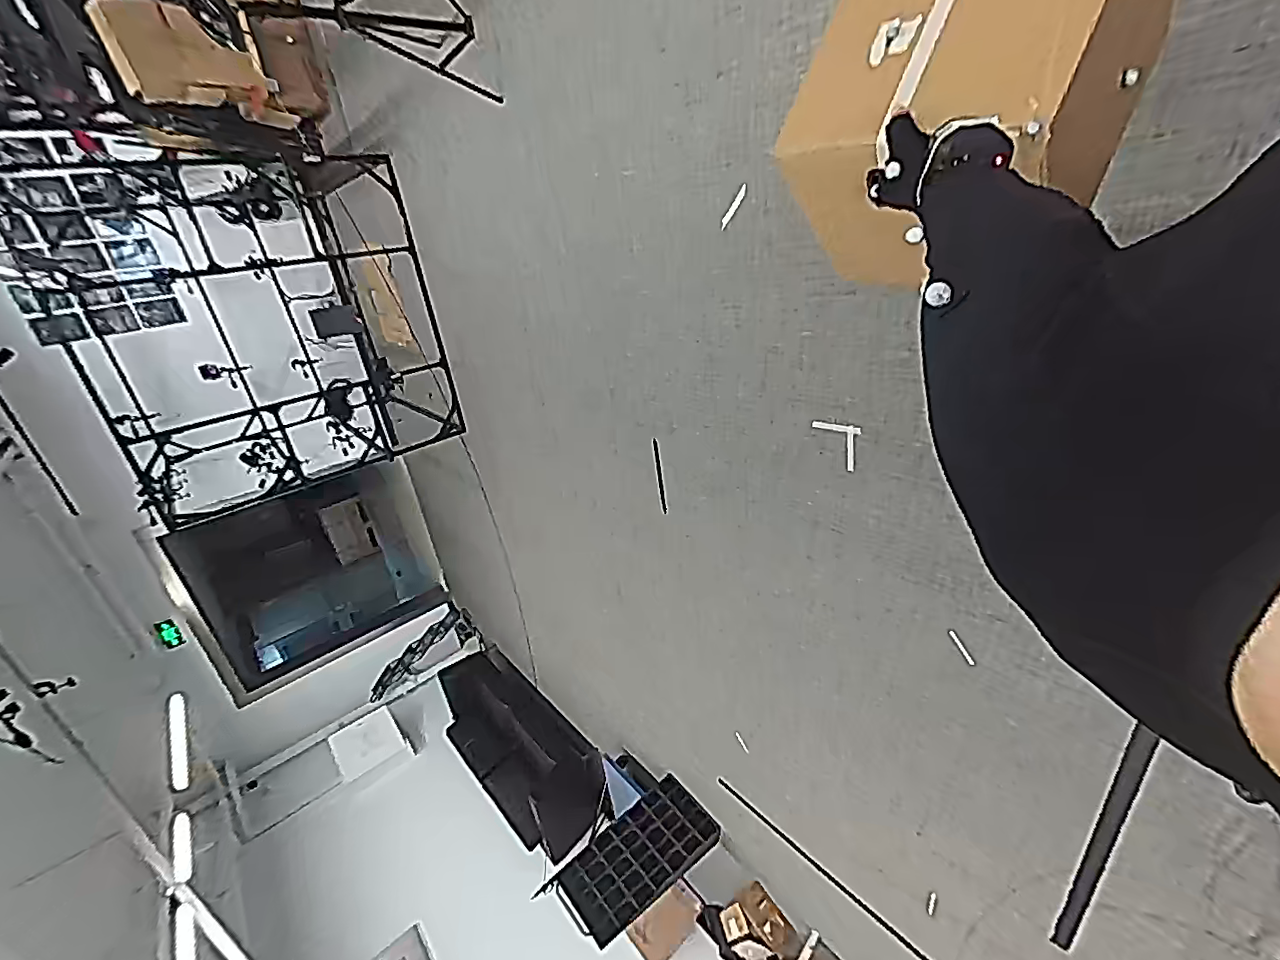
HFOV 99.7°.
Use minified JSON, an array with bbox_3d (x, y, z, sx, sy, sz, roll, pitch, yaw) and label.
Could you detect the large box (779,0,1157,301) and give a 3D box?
[{"bbox_3d":[0.460,-0.520,0.753,0.320,0.320,0.408,25,90,42],"label":"large box"}]
